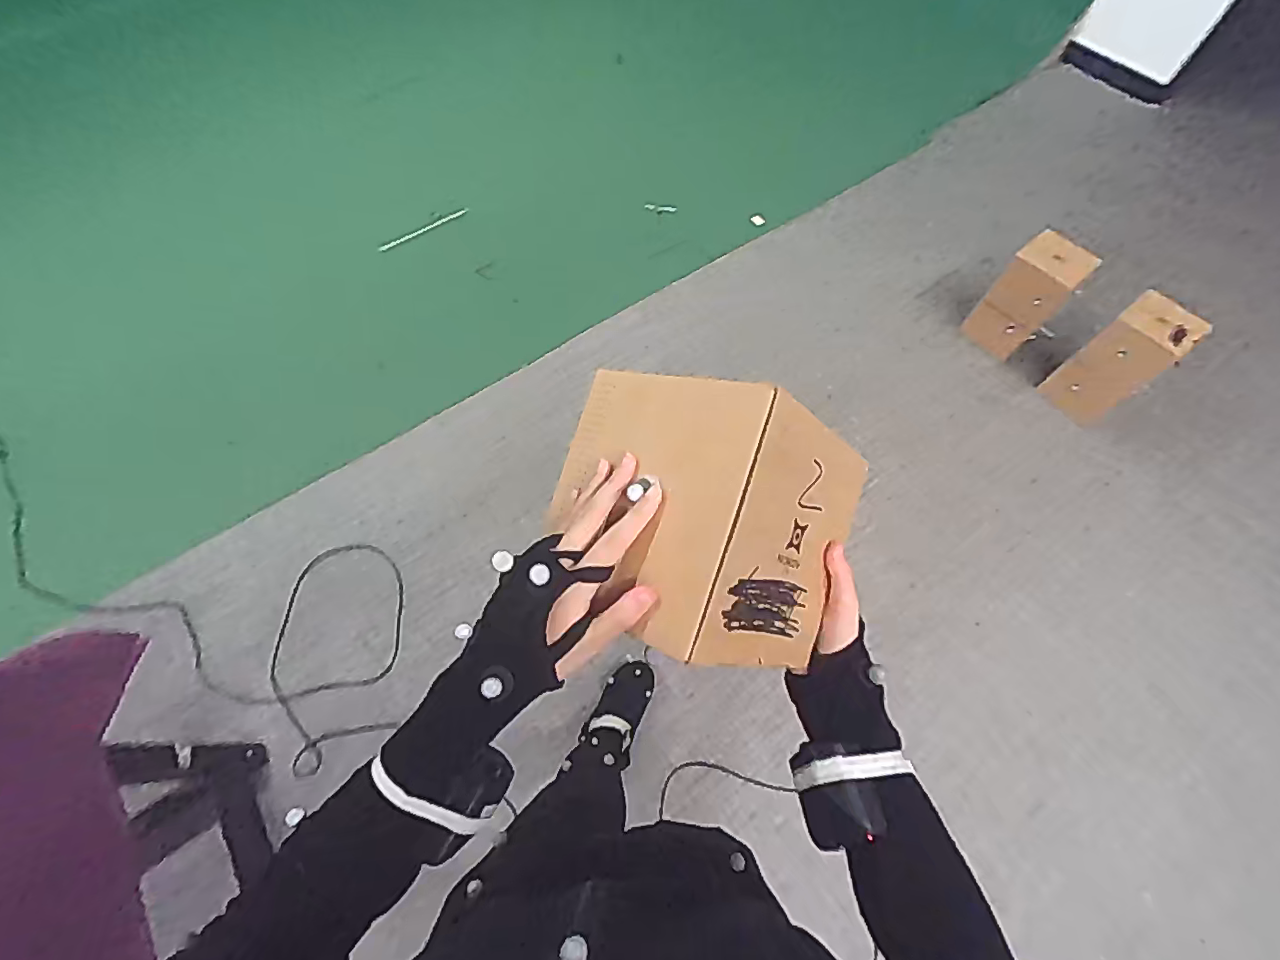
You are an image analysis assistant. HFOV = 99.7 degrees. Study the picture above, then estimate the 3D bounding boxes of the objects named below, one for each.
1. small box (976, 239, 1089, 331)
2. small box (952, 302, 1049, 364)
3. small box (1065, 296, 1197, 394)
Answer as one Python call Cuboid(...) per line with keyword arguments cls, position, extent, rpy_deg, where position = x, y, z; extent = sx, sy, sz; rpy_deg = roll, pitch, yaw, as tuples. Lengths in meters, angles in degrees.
Cuboid(cls="small box", position=(1.160, -0.571, 1.610), extent=(0.168, 0.176, 0.179), rpy_deg=(-36, 67, -16))
Cuboid(cls="small box", position=(1.169, -0.505, 1.760), extent=(0.168, 0.176, 0.179), rpy_deg=(-37, 68, -16))
Cuboid(cls="small box", position=(1.353, -0.365, 1.501), extent=(0.168, 0.176, 0.179), rpy_deg=(-35, 67, -16))
